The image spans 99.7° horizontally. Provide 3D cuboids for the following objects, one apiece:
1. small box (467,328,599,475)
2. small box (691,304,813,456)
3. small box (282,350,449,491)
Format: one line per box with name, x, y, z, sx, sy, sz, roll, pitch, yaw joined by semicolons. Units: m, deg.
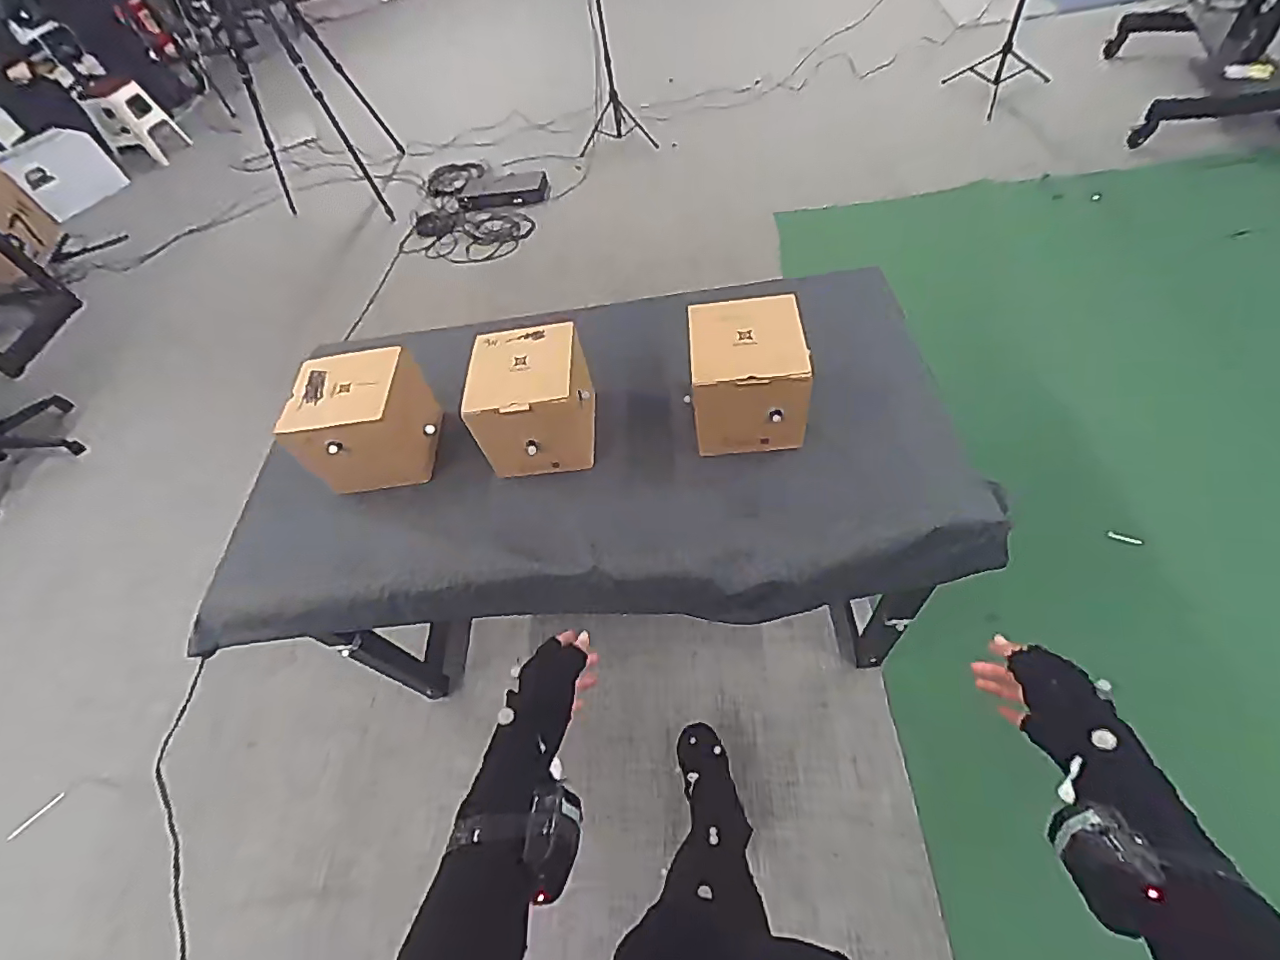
small box;-0.165;-0.121;0.897;0.168;0.176;0.179;-6;55;6
small box;0.170;-0.151;0.860;0.168;0.176;0.179;-4;53;6
small box;-0.456;-0.095;0.928;0.179;0.176;0.168;-7;54;4
